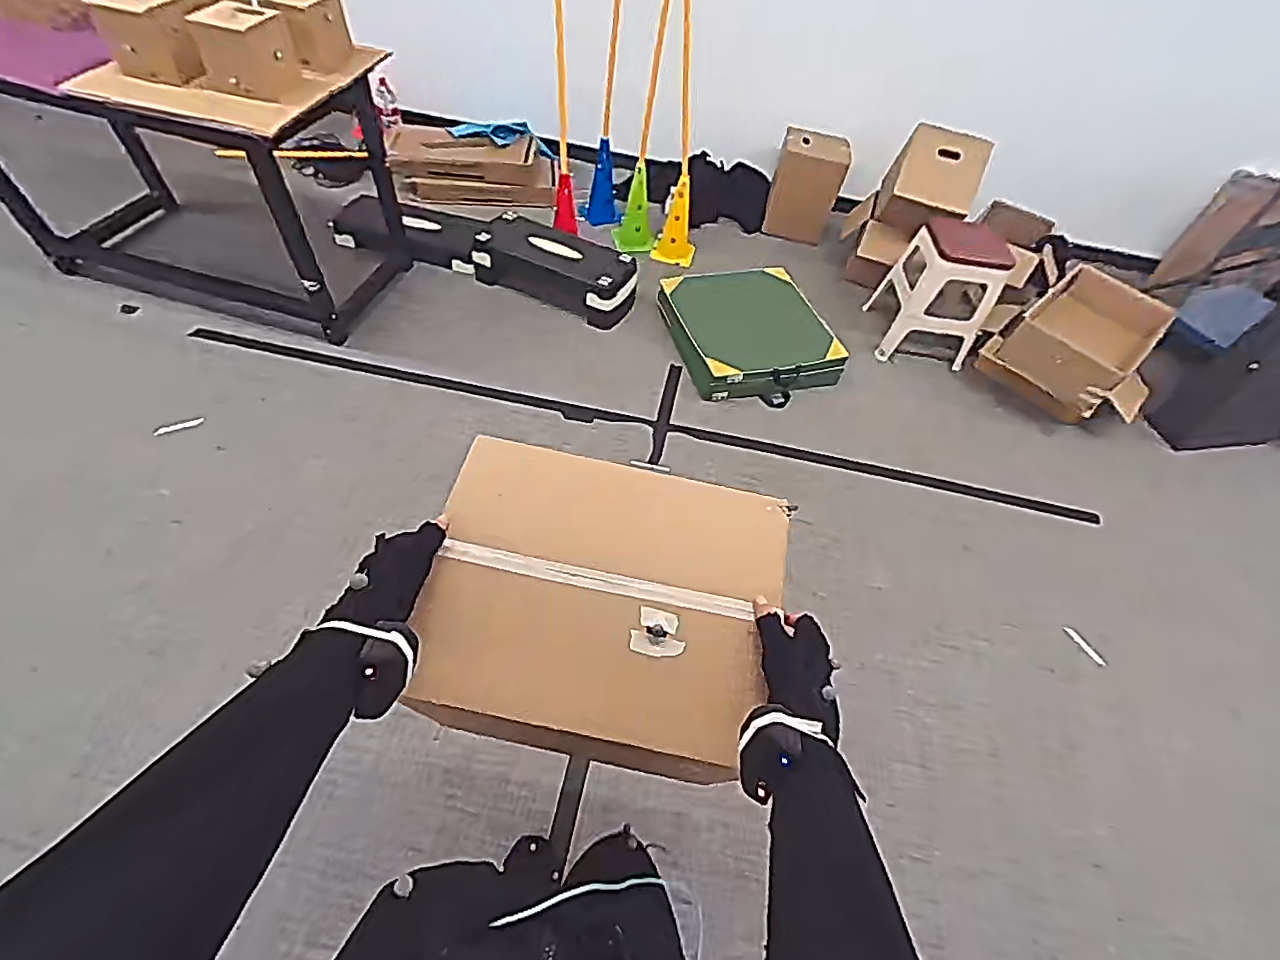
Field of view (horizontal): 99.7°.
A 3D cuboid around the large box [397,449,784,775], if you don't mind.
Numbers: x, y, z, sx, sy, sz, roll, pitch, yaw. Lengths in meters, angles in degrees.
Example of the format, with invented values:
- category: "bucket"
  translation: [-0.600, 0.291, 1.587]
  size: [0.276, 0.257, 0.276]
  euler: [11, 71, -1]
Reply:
- category: "large box"
  translation: [-0.050, 0.200, 0.755]
  size: [0.408, 0.320, 0.320]
  euler: [13, 60, 0]
